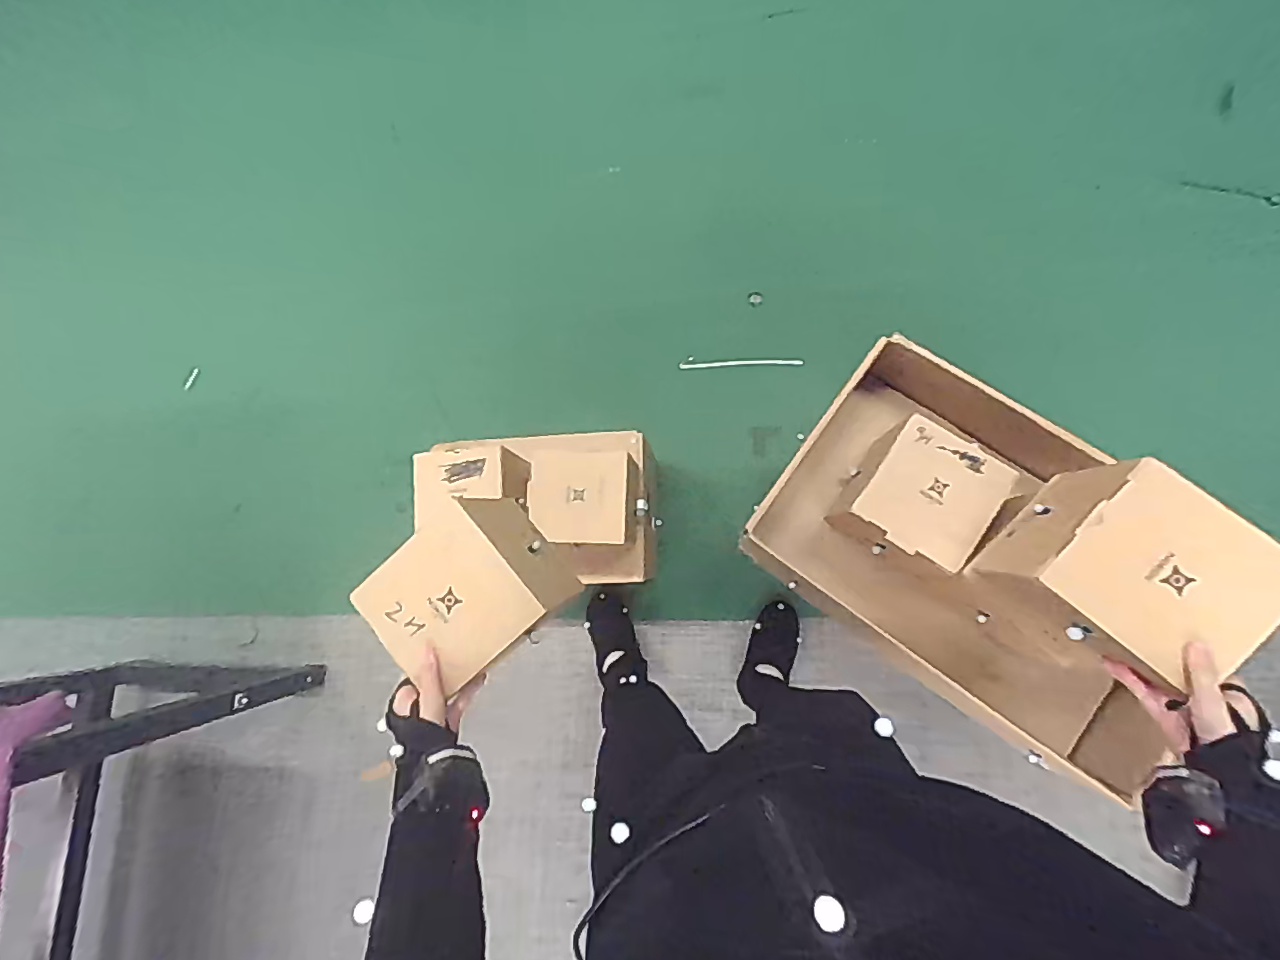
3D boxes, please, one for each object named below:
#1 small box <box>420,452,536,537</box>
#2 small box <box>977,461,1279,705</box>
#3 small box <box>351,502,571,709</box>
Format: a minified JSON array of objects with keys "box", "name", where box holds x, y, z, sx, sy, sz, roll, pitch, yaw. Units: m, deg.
[{"box":[-0.305,0.055,1.043,0.168,0.176,0.179,-5,80,7],"name":"small box"},{"box":[0.523,0.103,0.592,0.179,0.176,0.168,41,94,15],"name":"small box"},{"box":[-0.206,0.143,0.681,0.179,0.176,0.168,-41,81,5],"name":"small box"}]
